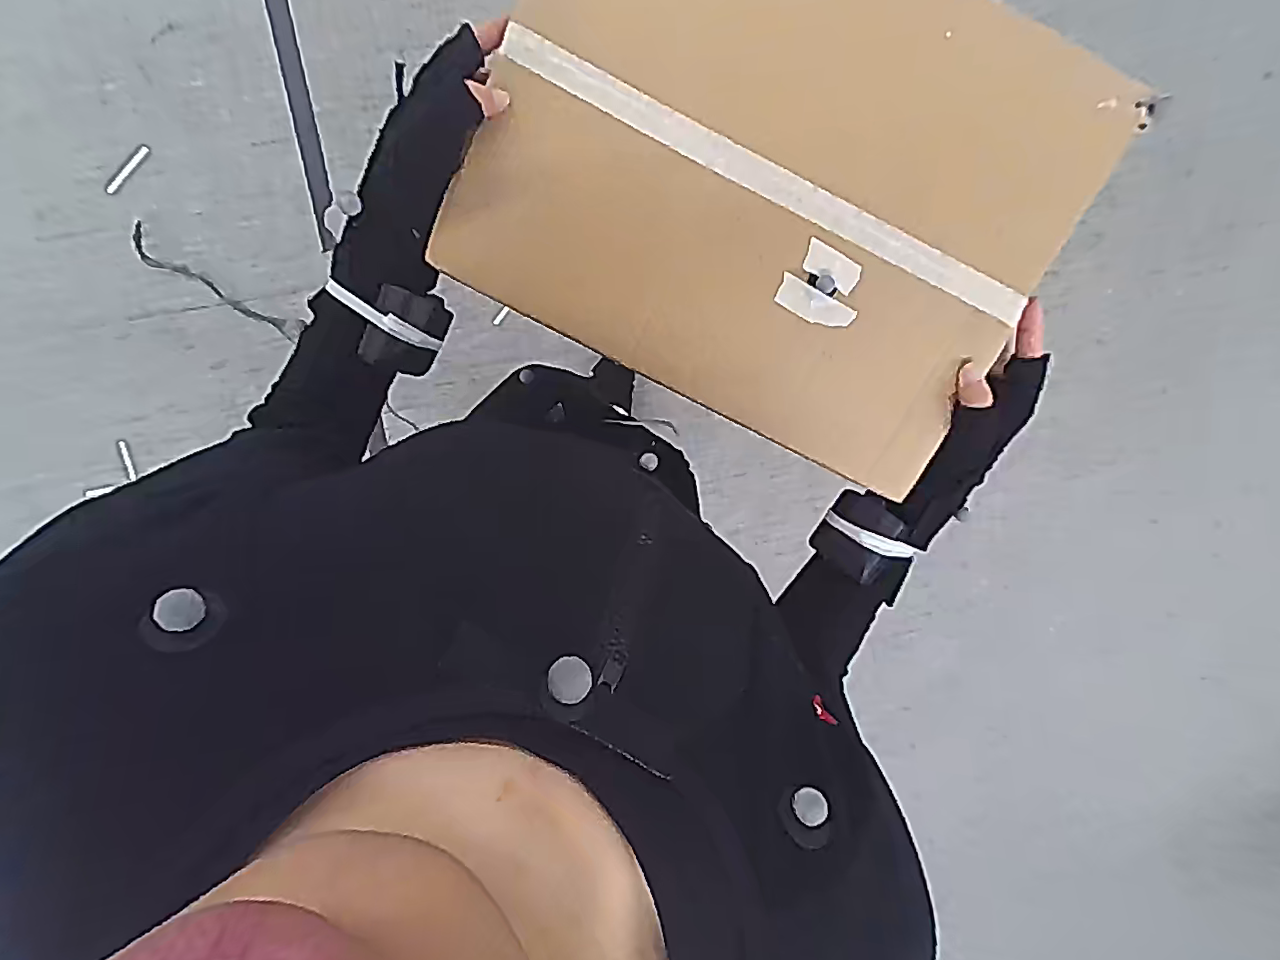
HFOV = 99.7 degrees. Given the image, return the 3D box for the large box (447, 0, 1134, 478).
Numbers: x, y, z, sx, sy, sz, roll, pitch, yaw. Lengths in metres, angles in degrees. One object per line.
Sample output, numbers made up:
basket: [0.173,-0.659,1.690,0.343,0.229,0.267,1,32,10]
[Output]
large box: [0.099,-0.250,0.531,0.408,0.320,0.320,27,104,-4]
